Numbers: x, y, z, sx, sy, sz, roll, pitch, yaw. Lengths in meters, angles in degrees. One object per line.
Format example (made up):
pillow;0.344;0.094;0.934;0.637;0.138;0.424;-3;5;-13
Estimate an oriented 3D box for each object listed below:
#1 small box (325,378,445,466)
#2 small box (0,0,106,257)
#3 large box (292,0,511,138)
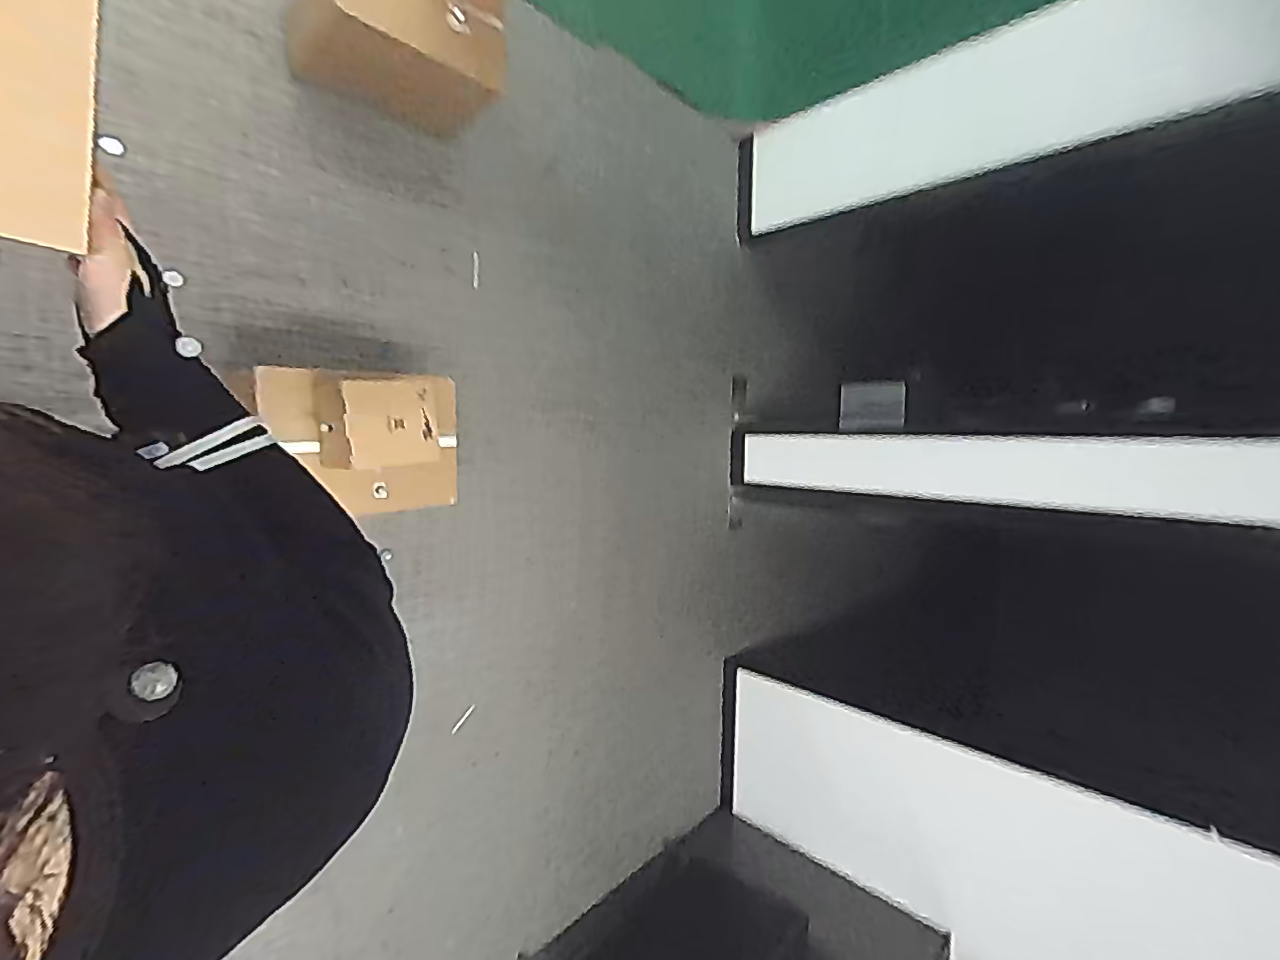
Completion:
small box;-0.527;-0.117;1.109;0.179;0.176;0.168;-10;100;-45
small box;-0.432;-0.240;0.305;0.179;0.176;0.168;2;106;-46
large box;-0.573;-1.115;1.309;0.408;0.320;0.320;-6;98;-47
